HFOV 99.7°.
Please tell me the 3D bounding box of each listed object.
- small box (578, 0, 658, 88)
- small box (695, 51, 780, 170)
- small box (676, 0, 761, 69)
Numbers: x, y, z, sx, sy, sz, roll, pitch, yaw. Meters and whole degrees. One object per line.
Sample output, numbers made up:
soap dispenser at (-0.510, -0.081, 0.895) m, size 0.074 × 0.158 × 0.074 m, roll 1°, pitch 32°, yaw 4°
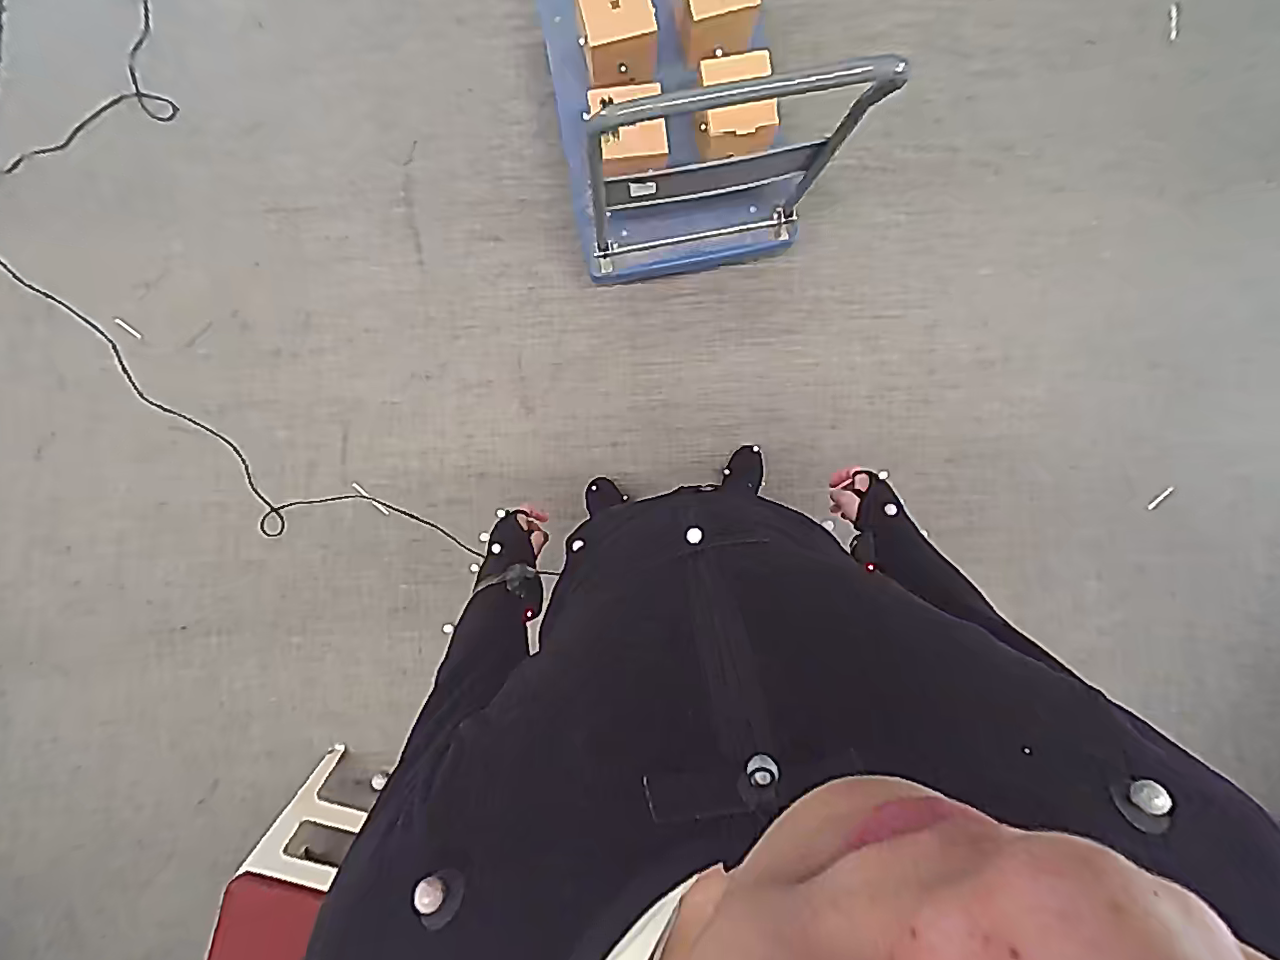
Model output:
small box at (-0.055, -1.126, 1.355) m, size 0.168 × 0.176 × 0.179 m, roll -14°, pitch 92°, yaw -1°
small box at (0.239, -0.923, 1.364) m, size 0.168 × 0.176 × 0.179 m, roll -10°, pitch 92°, yaw 0°
small box at (0.189, -1.189, 1.353) m, size 0.168 × 0.176 × 0.179 m, roll -14°, pitch 93°, yaw 1°
